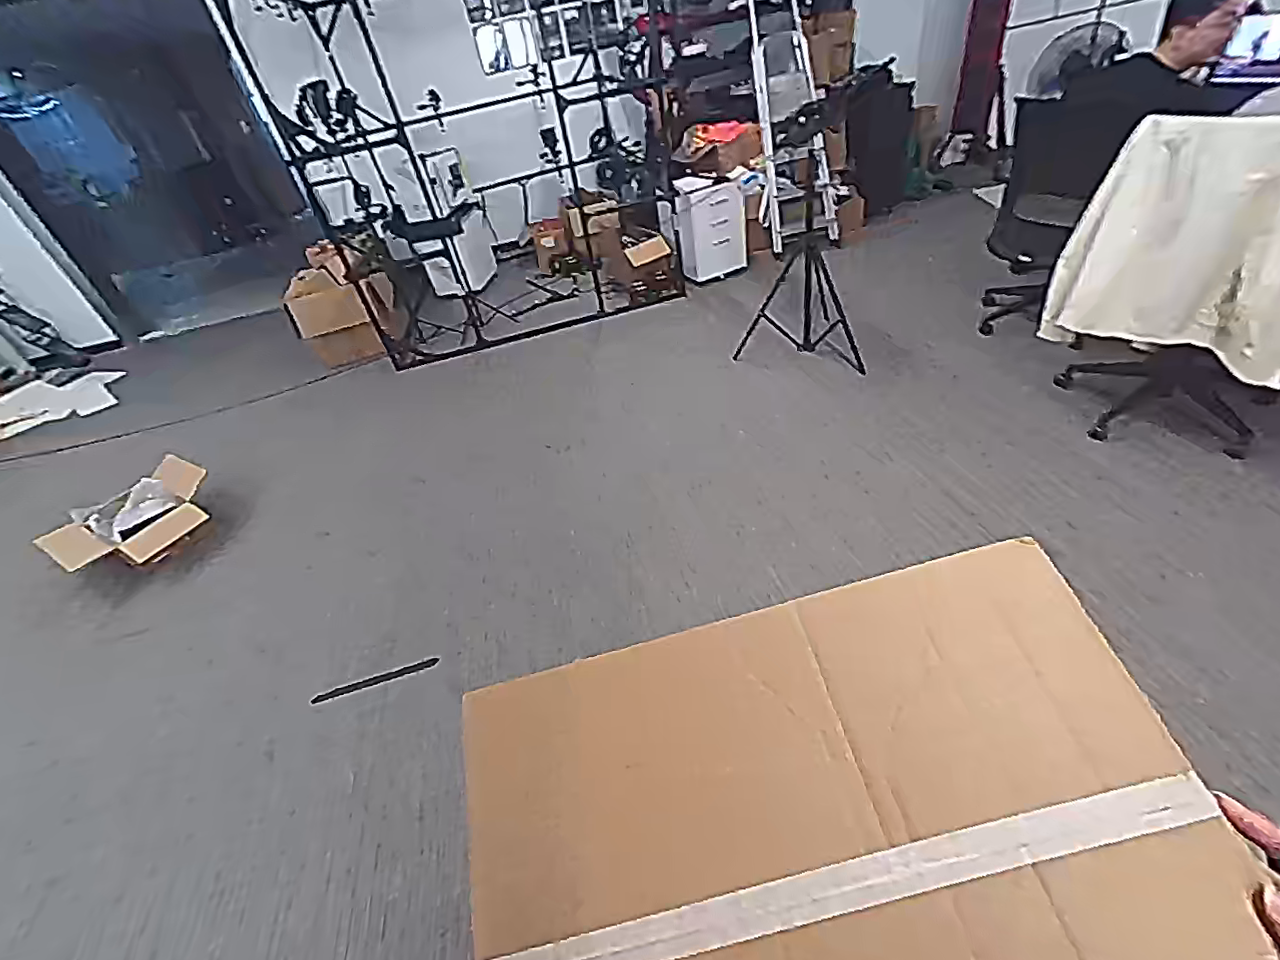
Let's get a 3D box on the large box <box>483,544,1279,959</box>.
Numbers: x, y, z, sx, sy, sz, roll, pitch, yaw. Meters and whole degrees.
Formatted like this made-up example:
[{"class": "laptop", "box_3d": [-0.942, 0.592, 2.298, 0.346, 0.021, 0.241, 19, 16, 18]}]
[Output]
[{"class": "large box", "box_3d": [0.135, 0.299, 0.430, 0.408, 0.320, 0.320, -17, 60, 2]}]
